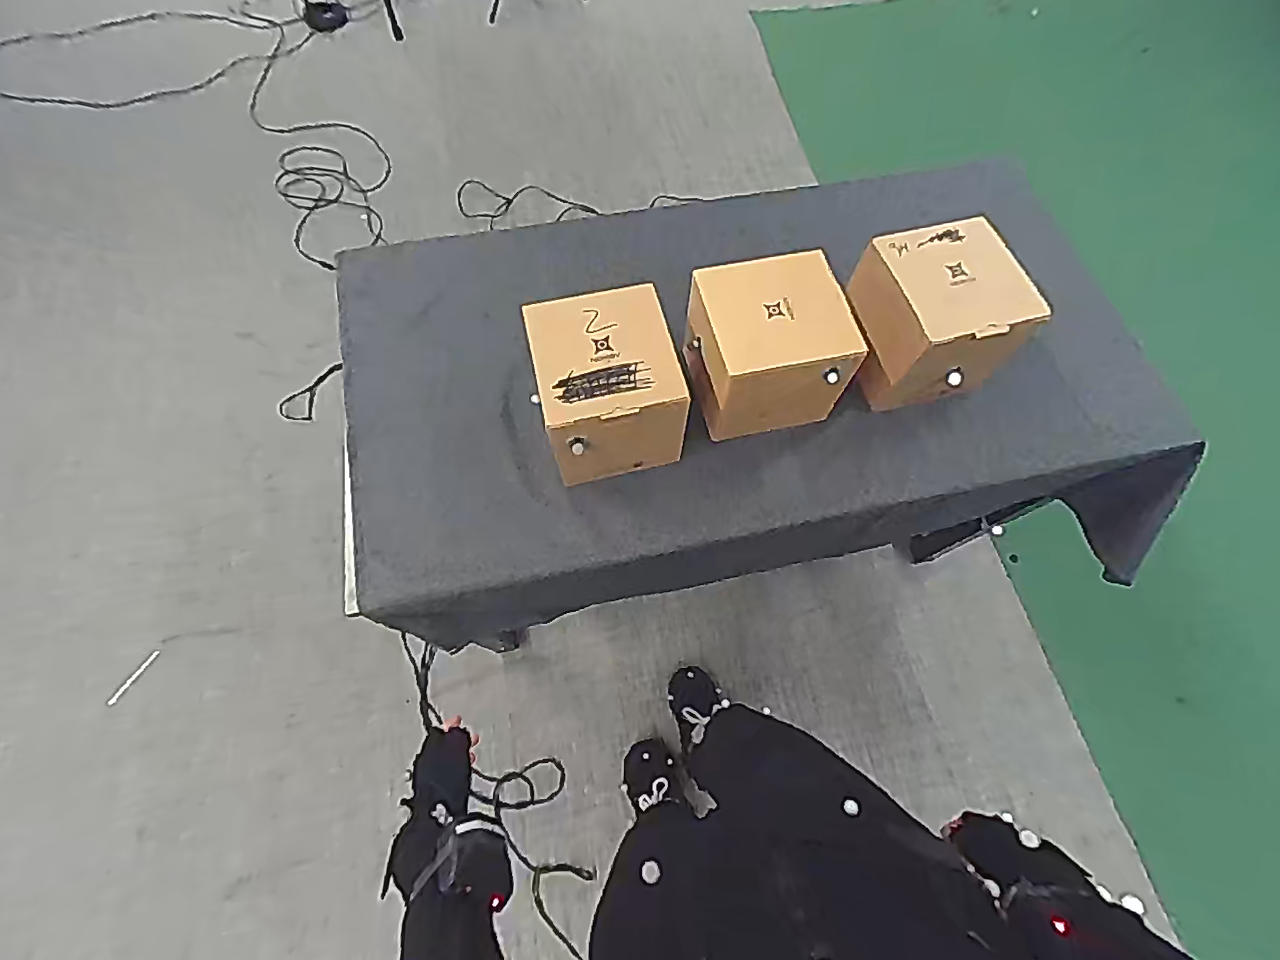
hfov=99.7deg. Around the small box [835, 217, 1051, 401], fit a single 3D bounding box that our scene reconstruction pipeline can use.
[{"bbox_3d":[0.402,-0.226,0.753,0.168,0.176,0.179,-12,68,-7],"label":"small box"}]
